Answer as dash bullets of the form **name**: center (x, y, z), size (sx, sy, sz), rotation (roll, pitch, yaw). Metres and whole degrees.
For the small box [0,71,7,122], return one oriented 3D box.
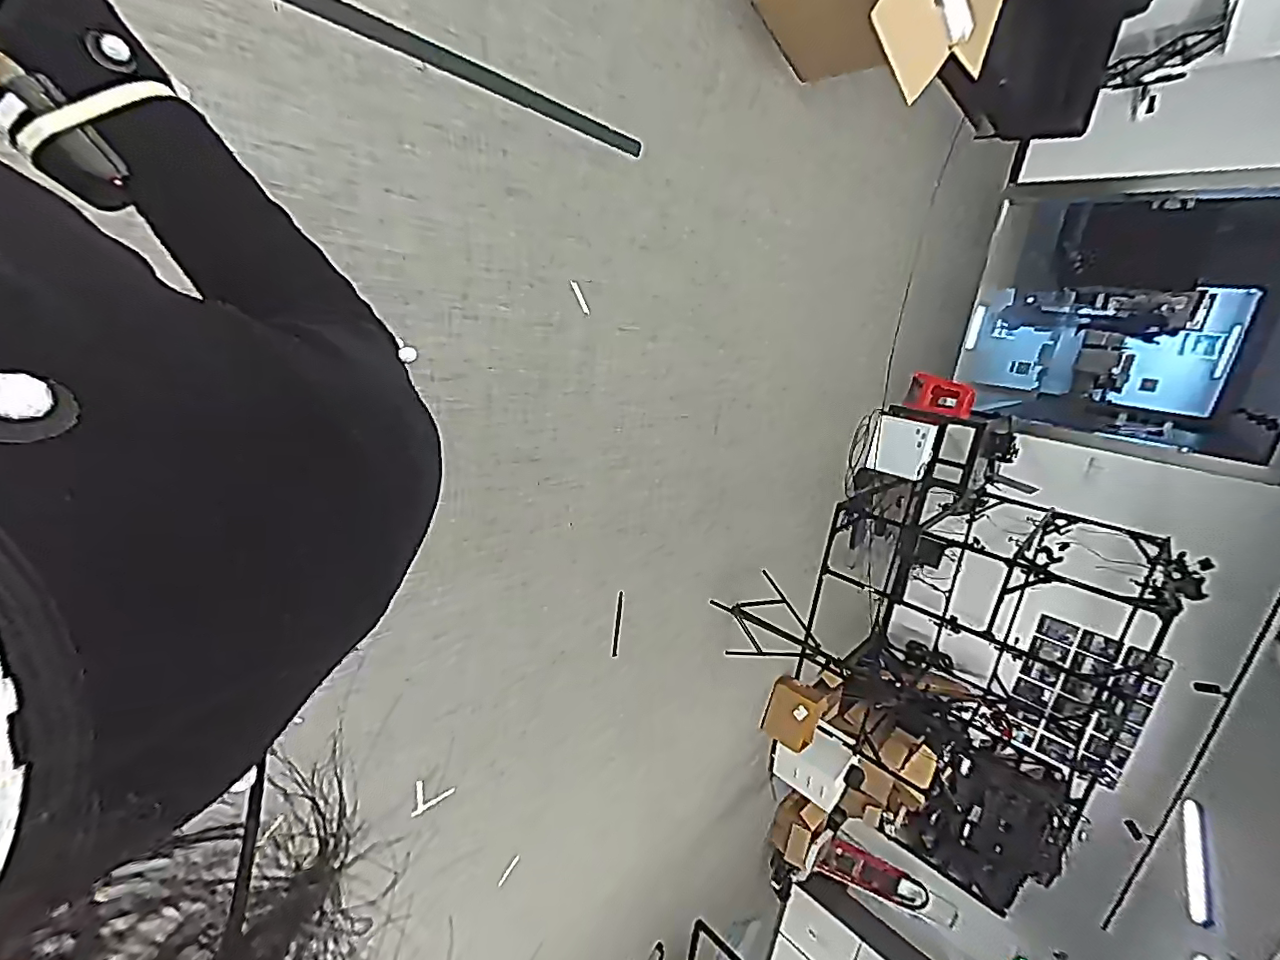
- **small box**: center (-1.063, -0.641, 0.781), size (0.179, 0.176, 0.168), rotation (-11, 113, -45)
